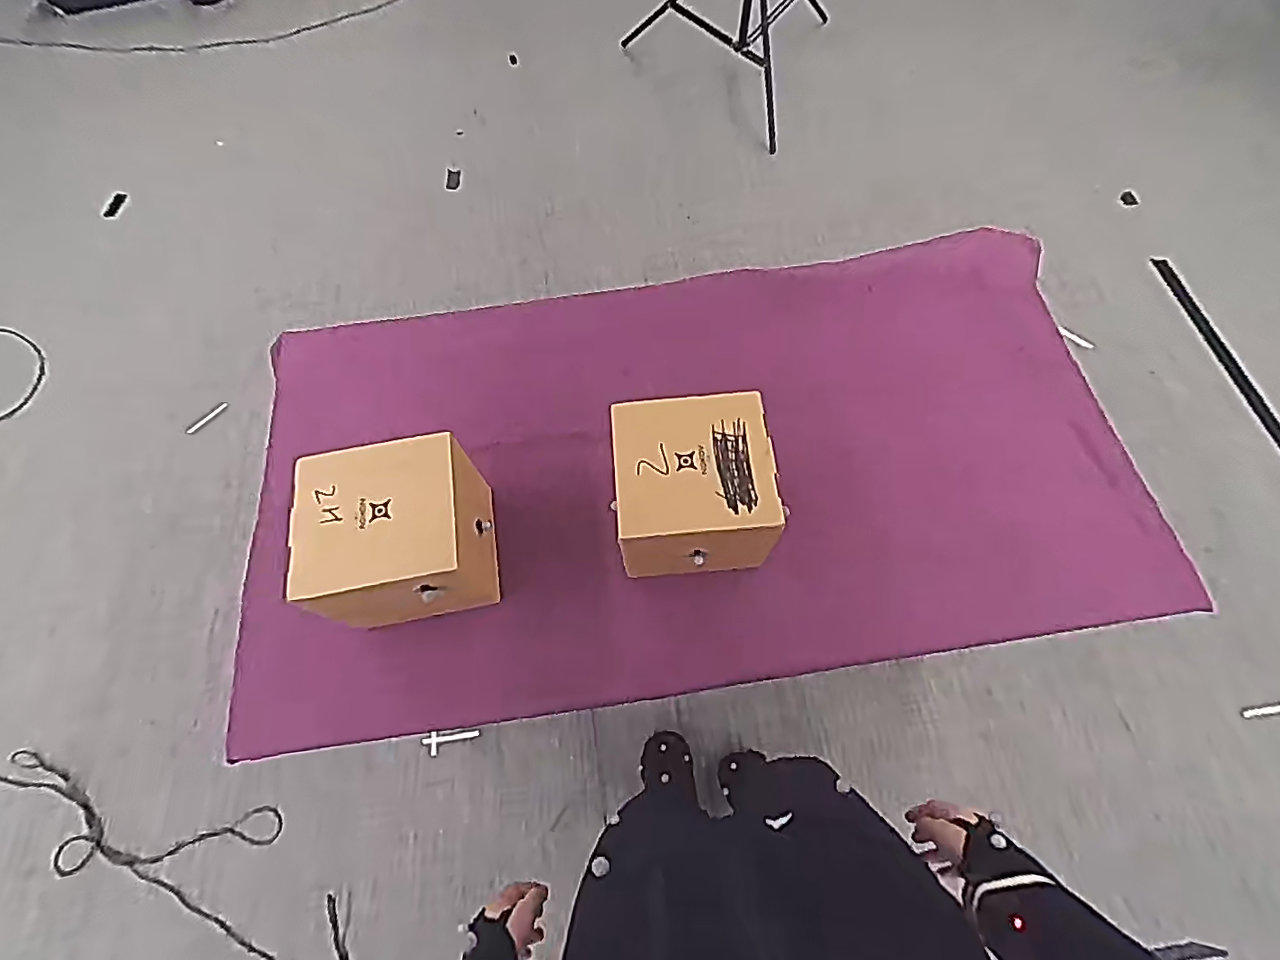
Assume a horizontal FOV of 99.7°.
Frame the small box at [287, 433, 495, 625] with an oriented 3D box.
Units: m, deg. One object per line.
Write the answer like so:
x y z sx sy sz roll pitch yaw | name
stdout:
-0.280 0.066 0.648 0.179 0.176 0.168 -11 65 -3 | small box
